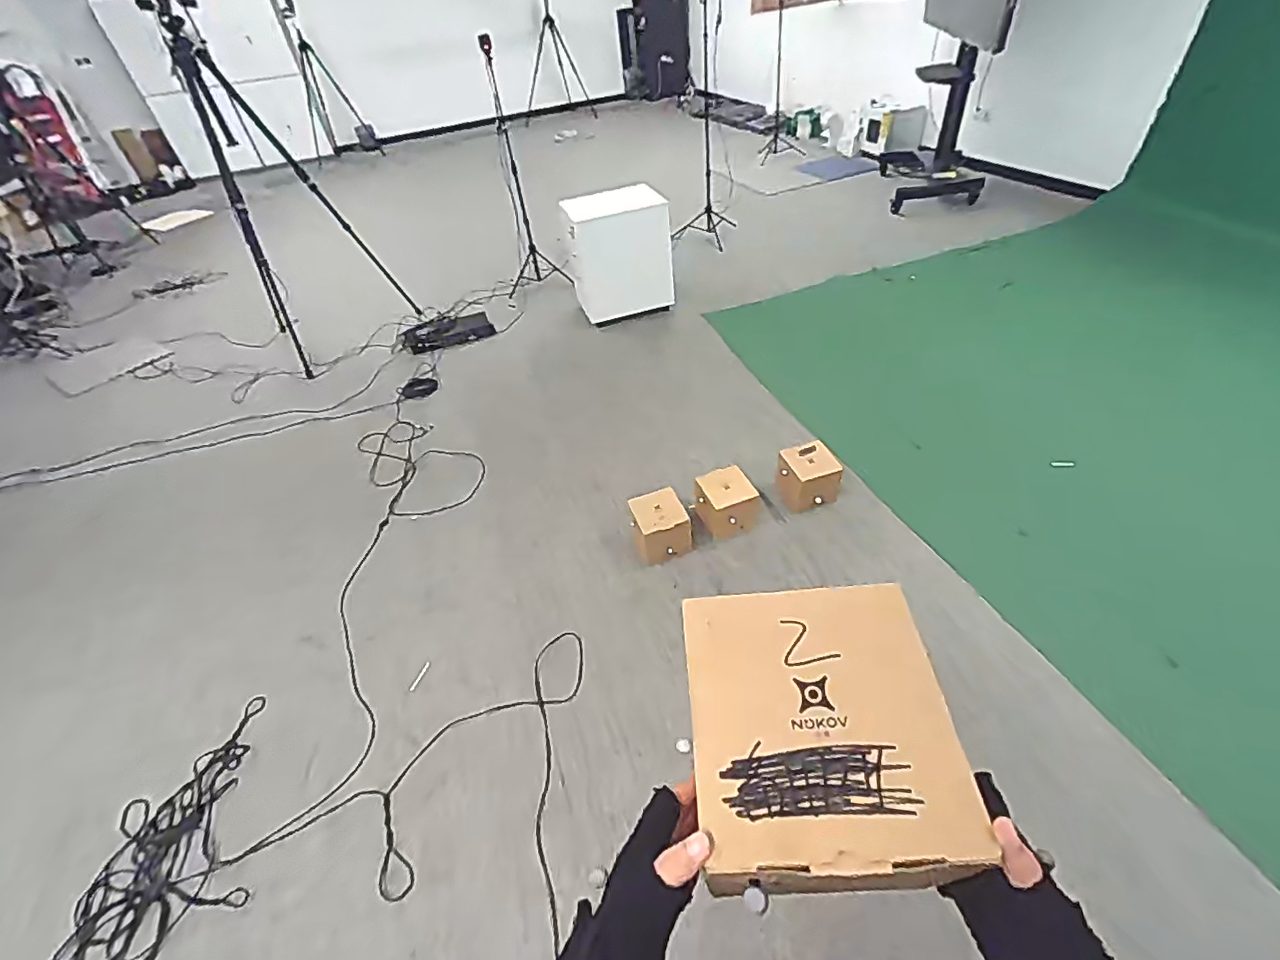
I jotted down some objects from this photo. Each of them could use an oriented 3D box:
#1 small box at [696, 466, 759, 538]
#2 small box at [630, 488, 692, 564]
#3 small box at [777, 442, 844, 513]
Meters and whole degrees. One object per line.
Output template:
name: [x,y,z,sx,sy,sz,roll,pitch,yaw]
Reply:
small box: [0.310,0.086,1.932,0.168,0.176,0.179,-18,43,-11]
small box: [0.072,0.161,1.879,0.168,0.176,0.179,-18,44,-10]
small box: [0.617,-0.008,1.988,0.168,0.176,0.179,-15,44,-8]
